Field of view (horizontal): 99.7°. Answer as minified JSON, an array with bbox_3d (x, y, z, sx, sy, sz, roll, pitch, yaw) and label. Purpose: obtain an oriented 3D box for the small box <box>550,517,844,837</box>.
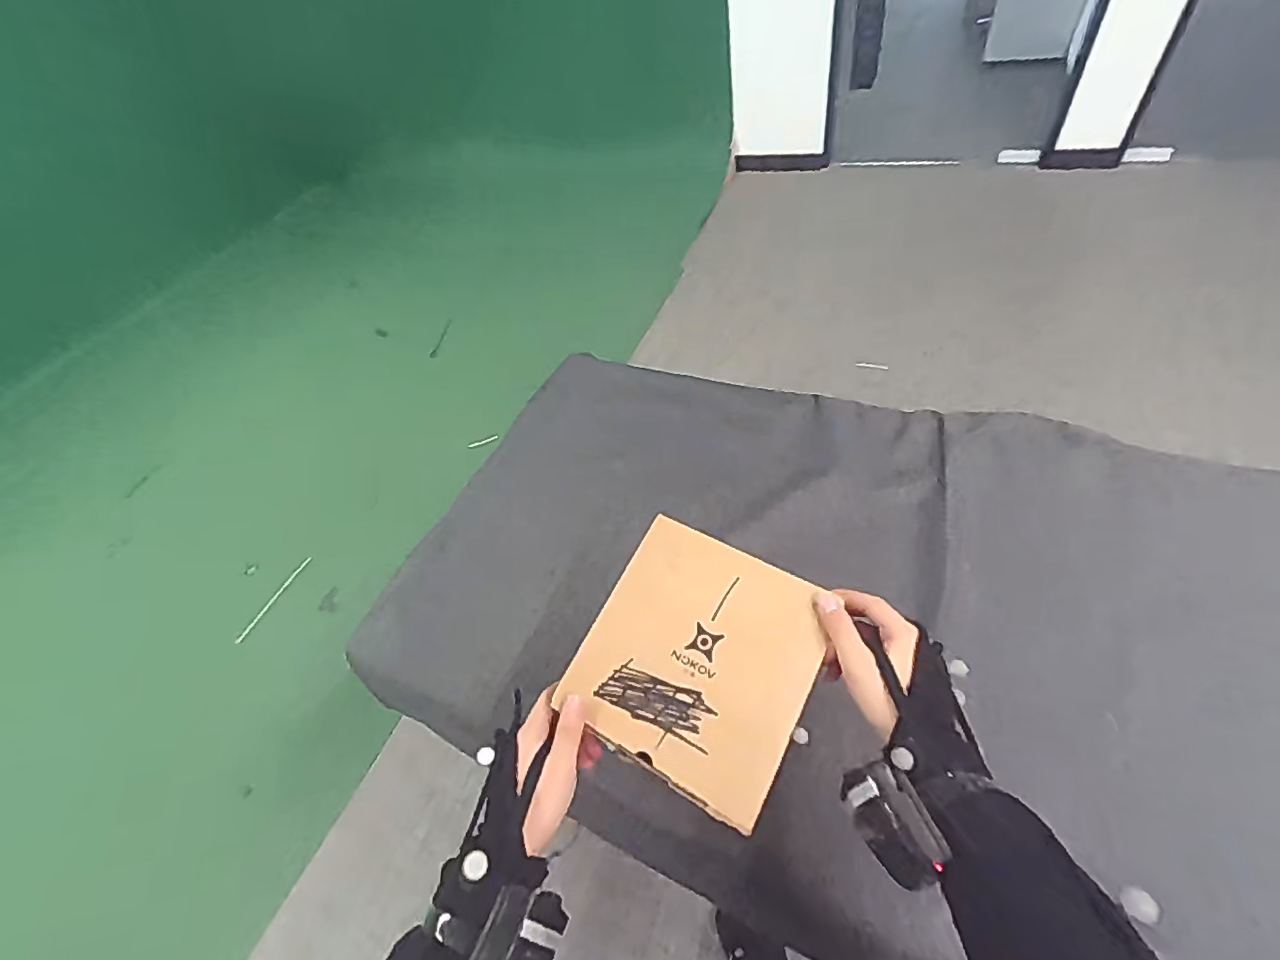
[{"bbox_3d":[0.055,0.167,0.472,0.168,0.176,0.179,25,69,21],"label":"small box"}]
